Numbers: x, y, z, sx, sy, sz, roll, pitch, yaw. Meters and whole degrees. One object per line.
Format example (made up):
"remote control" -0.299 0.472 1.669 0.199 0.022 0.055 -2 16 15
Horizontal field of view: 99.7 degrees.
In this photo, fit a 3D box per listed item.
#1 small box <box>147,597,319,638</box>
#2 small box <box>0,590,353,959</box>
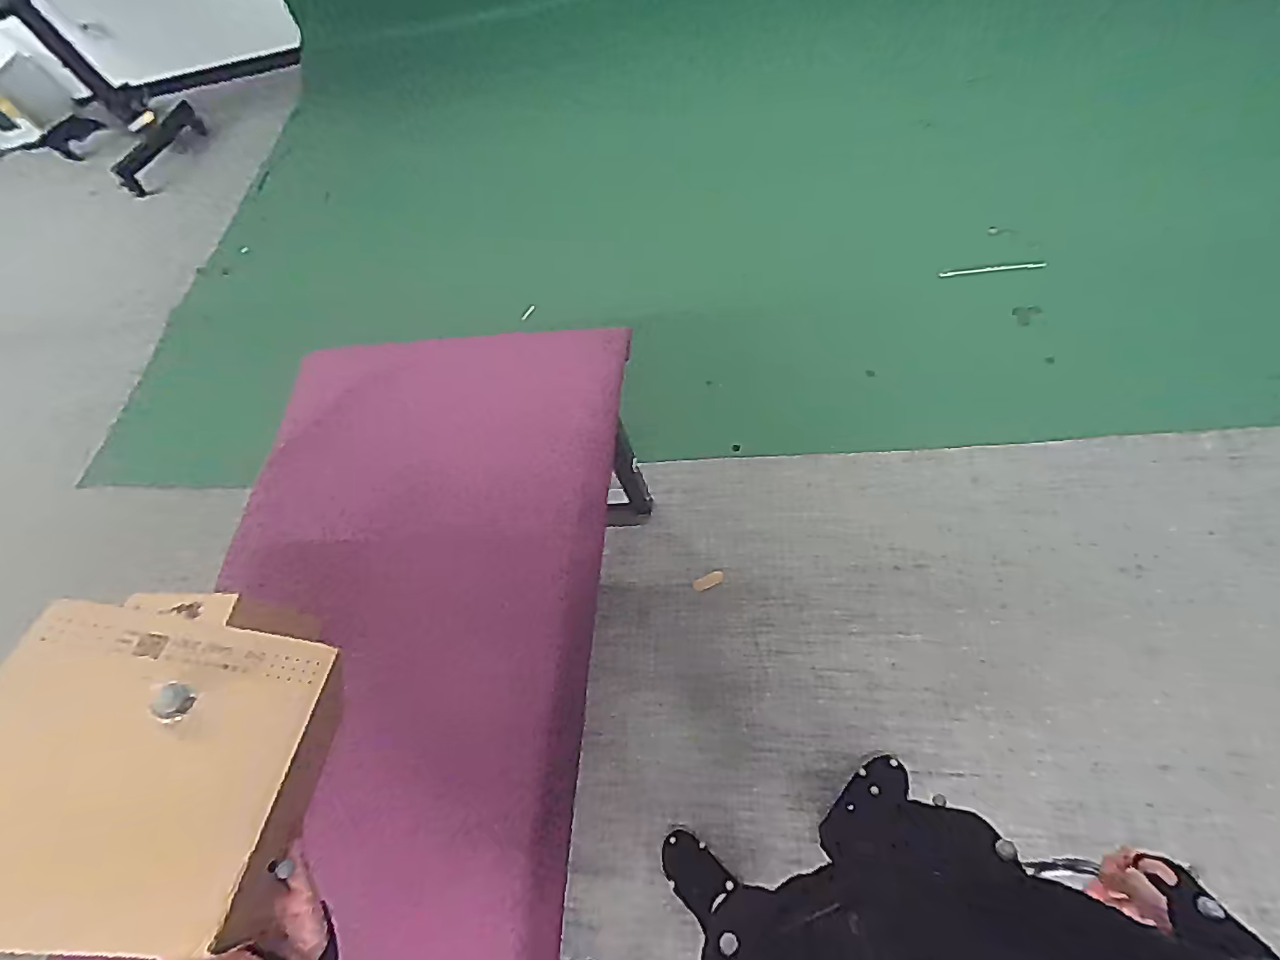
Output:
"small box" -0.575 0.263 0.727 0.168 0.176 0.179 -2 64 9
"small box" -0.309 0.196 0.361 0.168 0.179 0.176 17 50 -15
